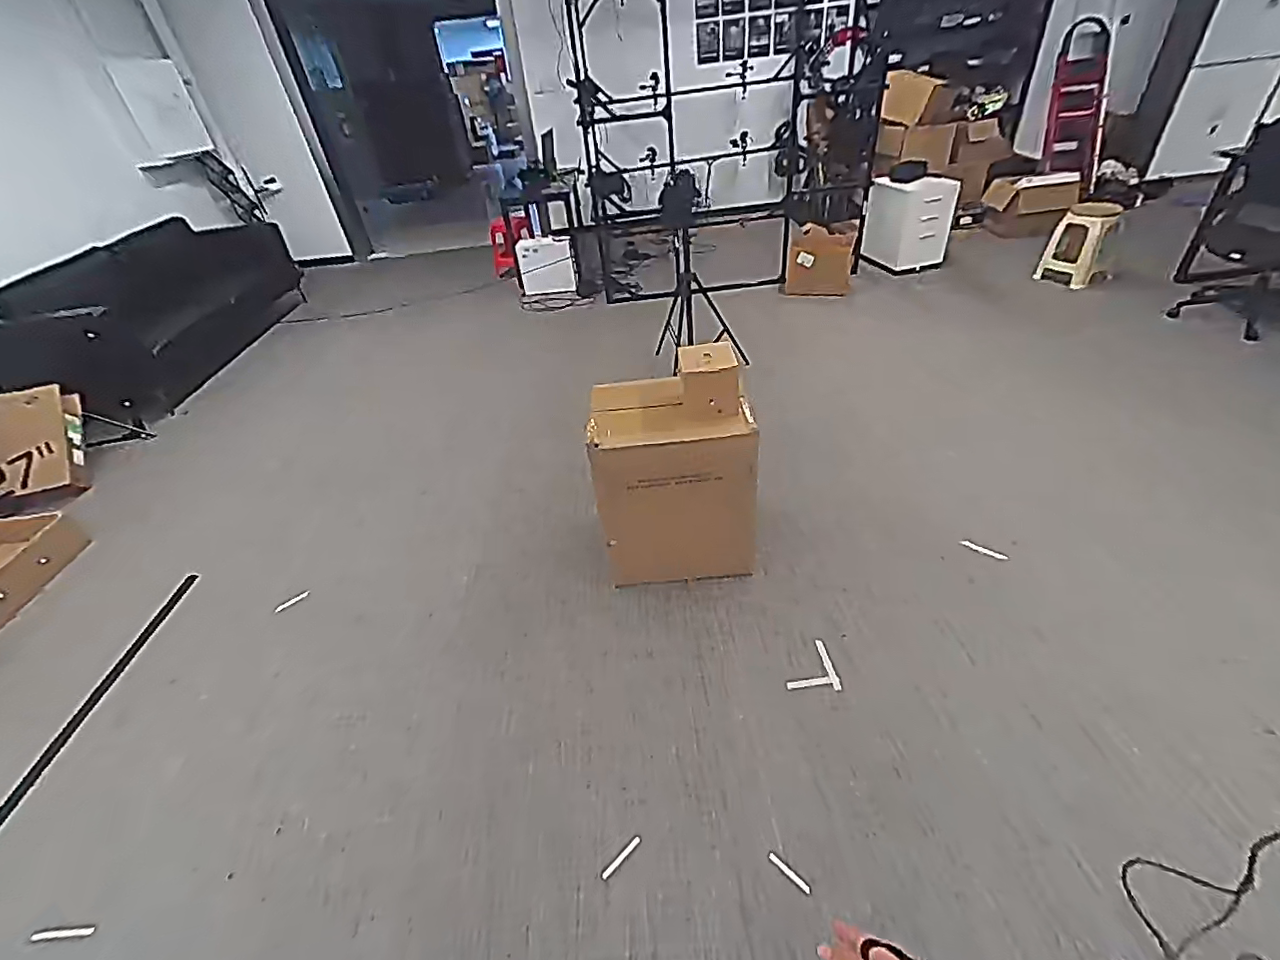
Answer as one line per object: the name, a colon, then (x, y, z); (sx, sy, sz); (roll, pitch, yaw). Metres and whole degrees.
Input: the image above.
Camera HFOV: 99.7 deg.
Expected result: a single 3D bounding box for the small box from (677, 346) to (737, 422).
small box: (0.208, -0.301, 1.699); (0.168, 0.176, 0.179); (-7, 39, 3)
